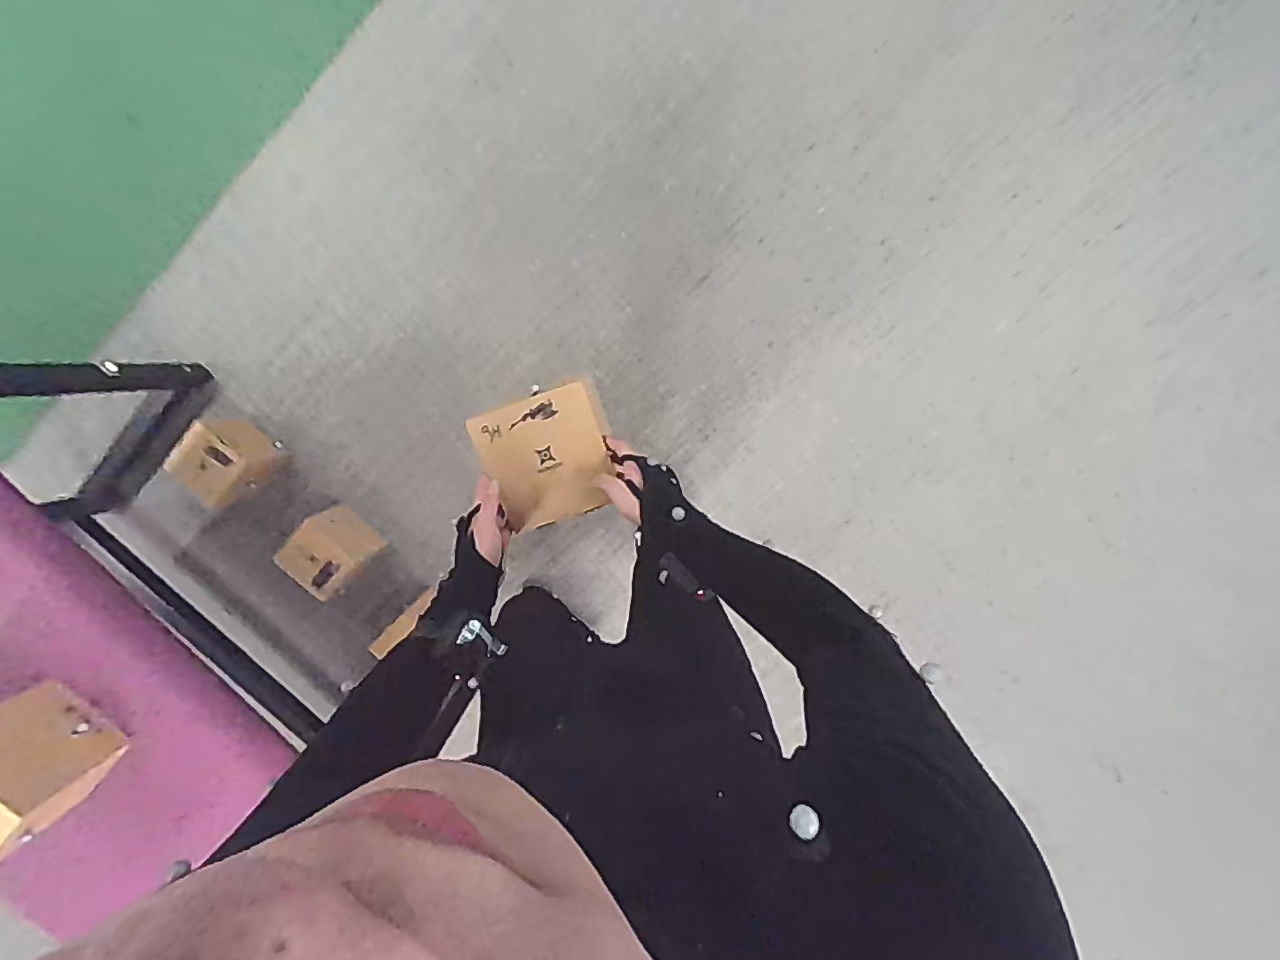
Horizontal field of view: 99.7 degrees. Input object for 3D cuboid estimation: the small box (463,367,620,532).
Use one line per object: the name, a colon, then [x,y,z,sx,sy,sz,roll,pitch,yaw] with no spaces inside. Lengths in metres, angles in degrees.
small box: [-0.129,-0.052,0.788,0.168,0.176,0.179,-17,107,2]

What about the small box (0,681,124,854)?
small box: [-0.964,0.451,0.825,0.179,0.176,0.168,-44,96,10]

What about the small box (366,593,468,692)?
small box: [-0.626,0.456,1.547,0.168,0.176,0.179,-43,96,11]

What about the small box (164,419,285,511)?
small box: [-1.117,-0.050,1.472,0.168,0.176,0.179,44,102,-5]
